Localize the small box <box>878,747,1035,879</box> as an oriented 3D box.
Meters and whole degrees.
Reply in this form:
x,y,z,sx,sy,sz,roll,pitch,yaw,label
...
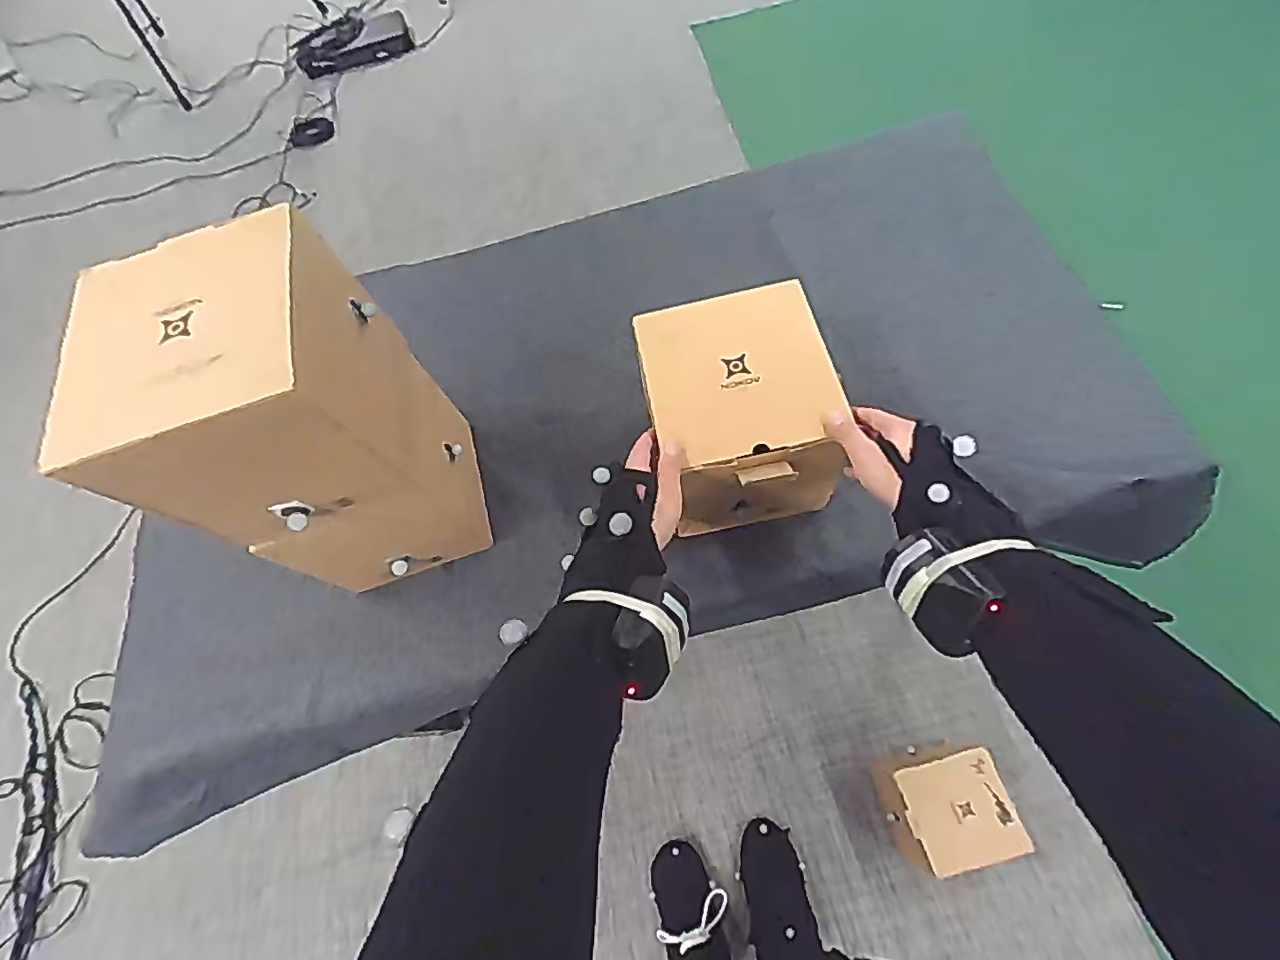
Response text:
x,y,z,sx,sy,sz,roll,pitch,yaw,label
0.562,0.604,0.997,0.179,0.176,0.168,-16,64,0,small box

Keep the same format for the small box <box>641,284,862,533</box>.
x,y,z,sx,sy,sz,roll,pitch,yaw,label
0.100,-0.065,0.559,0.168,0.176,0.179,-12,65,2,small box

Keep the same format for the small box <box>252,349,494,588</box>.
x,y,z,sx,sy,sz,roll,pitch,yaw,label
-0.275,-0.005,0.582,0.168,0.176,0.179,-19,65,-1,small box

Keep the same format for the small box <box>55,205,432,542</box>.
x,y,z,sx,sy,sz,roll,pitch,yaw,label
-0.290,-0.073,0.436,0.168,0.176,0.179,-19,66,0,small box
